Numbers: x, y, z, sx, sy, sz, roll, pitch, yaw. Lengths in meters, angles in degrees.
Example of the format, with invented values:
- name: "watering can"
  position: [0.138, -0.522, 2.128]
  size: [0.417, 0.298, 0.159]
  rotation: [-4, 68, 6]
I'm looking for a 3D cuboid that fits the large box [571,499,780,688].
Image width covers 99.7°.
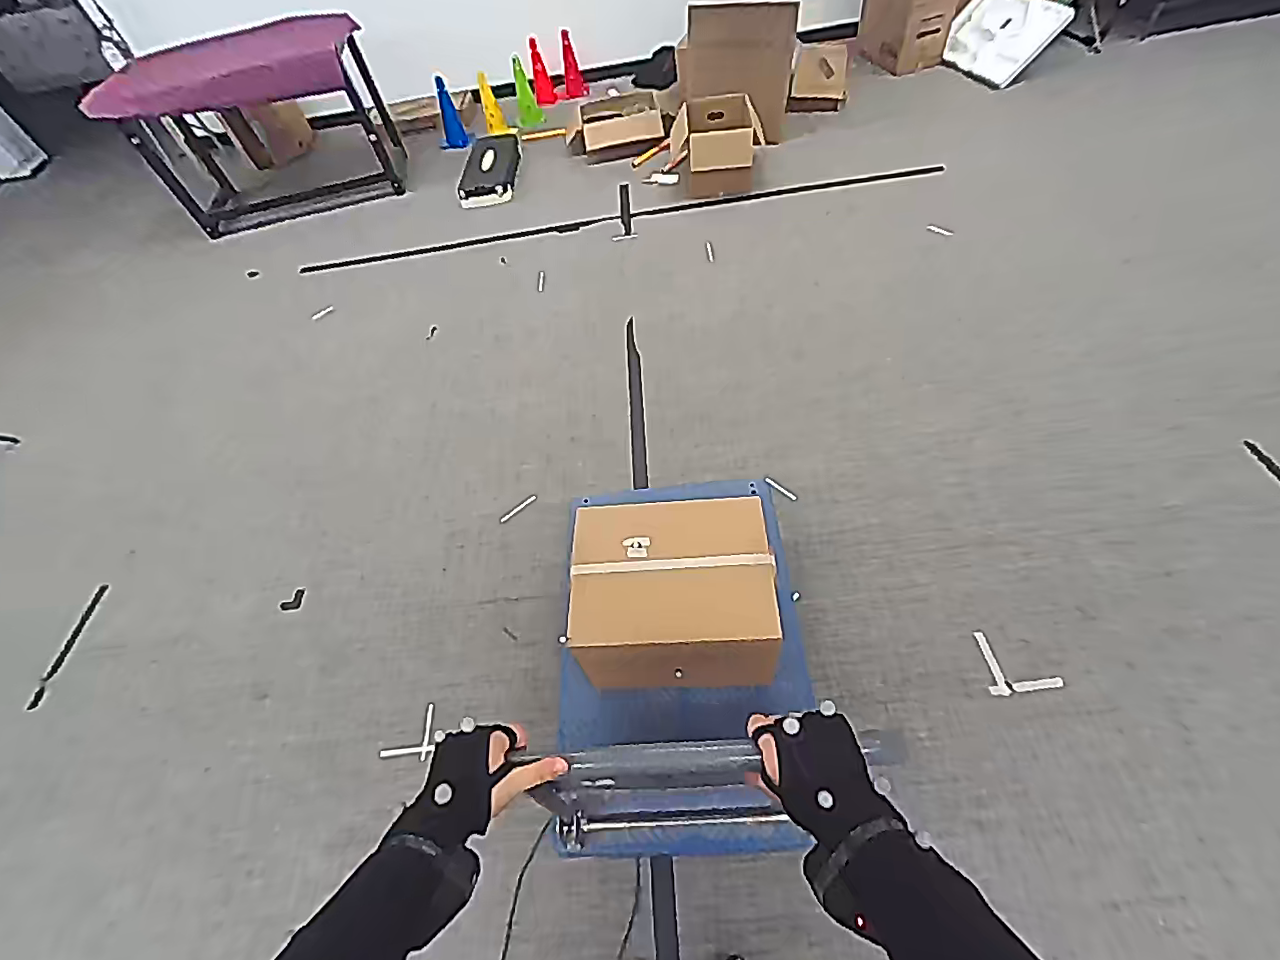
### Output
- name: "large box"
  position: [0.081, 0.268, 1.225]
  size: [0.408, 0.320, 0.320]
  rotation: [-5, 53, 6]
